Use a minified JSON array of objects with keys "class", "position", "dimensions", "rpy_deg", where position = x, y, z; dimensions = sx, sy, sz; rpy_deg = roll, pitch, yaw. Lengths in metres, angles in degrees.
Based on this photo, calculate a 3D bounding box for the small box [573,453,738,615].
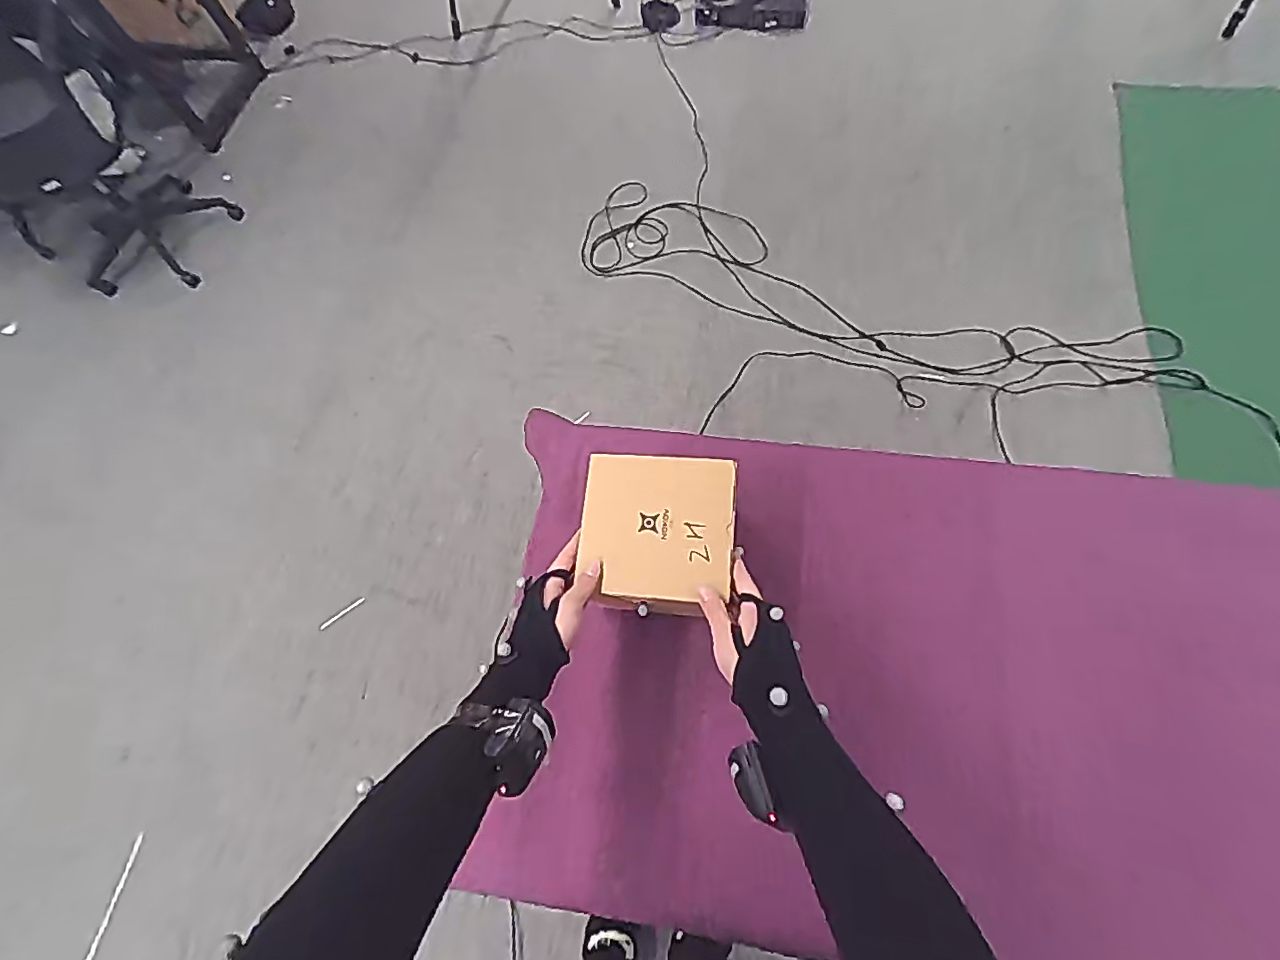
[{"class":"small box","position":[0.029,0.075,0.686],"dimensions":[0.179,0.176,0.168],"rpy_deg":[4,72,8]}]
